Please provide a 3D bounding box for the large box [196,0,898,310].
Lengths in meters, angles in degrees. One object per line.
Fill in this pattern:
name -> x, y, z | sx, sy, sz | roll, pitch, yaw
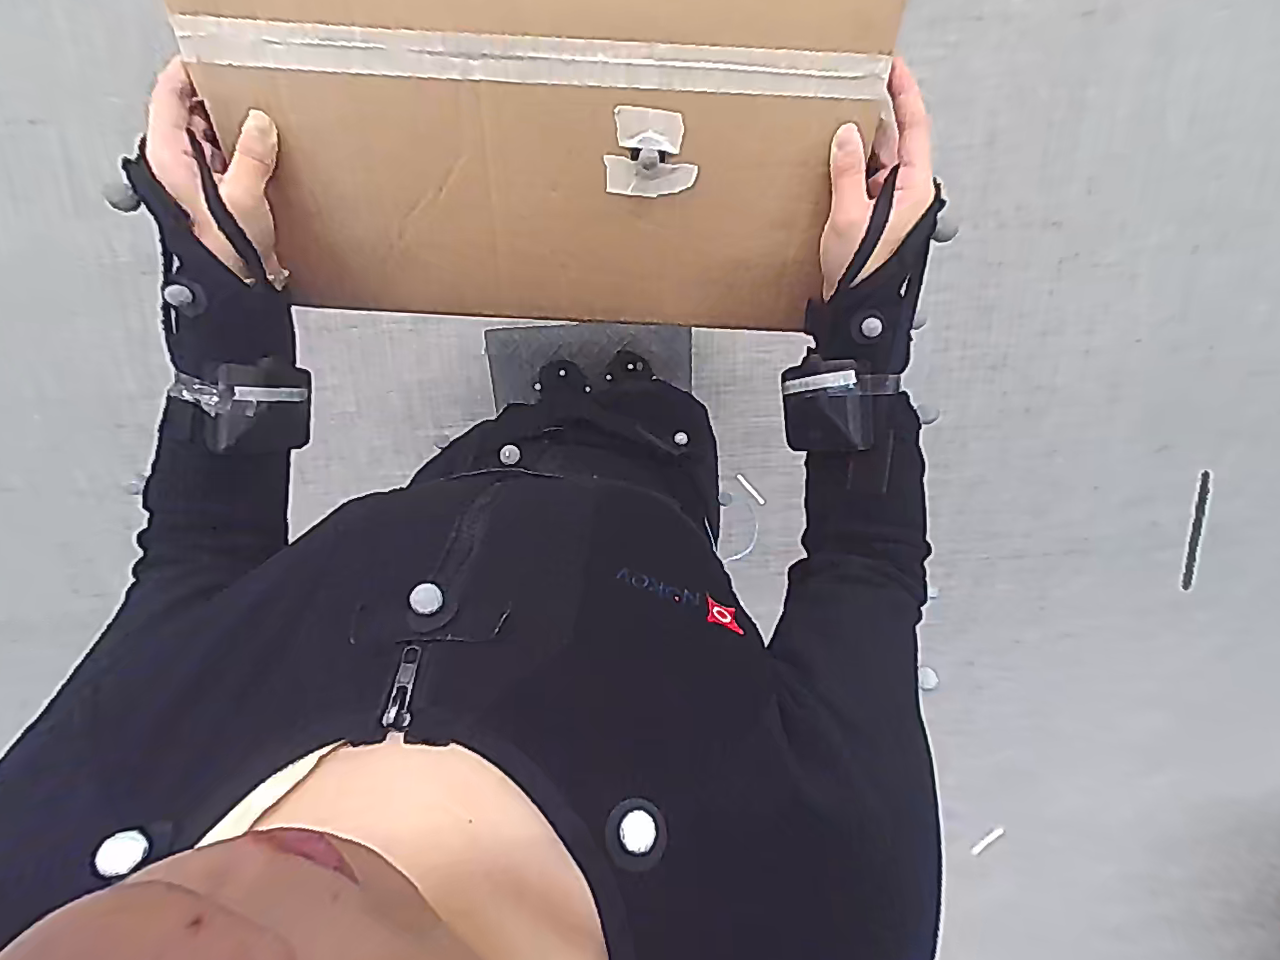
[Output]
large box -> -0.055, -0.346, 0.433 | 0.408, 0.320, 0.320 | 2, 129, -2
